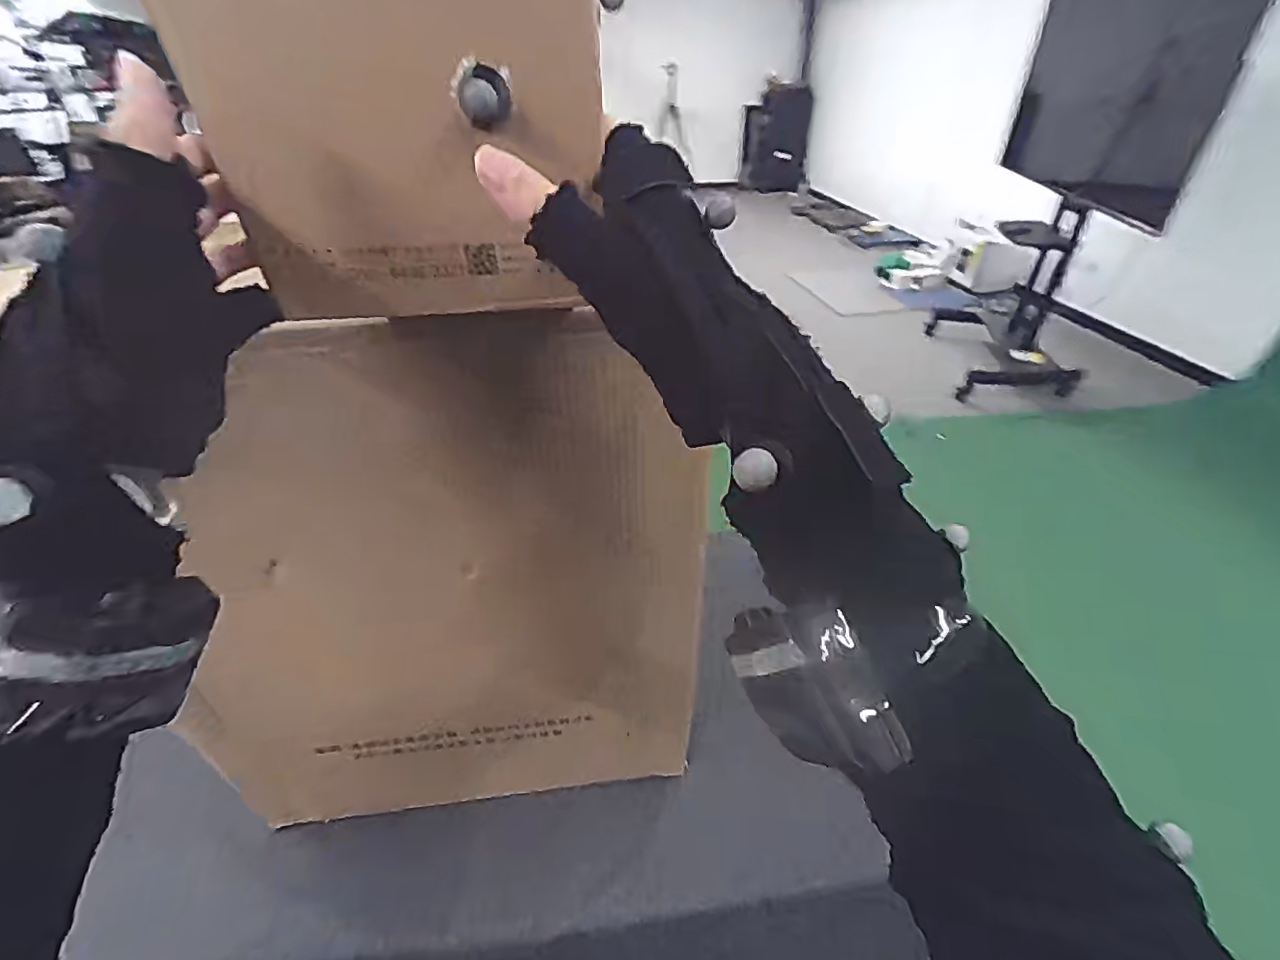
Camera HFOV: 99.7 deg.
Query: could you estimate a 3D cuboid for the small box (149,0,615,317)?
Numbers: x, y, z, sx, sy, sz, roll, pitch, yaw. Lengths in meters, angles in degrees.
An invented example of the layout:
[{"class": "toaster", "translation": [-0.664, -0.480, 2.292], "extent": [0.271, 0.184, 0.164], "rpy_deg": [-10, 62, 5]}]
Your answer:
[{"class": "small box", "translation": [-0.099, -0.194, 0.286], "extent": [0.168, 0.176, 0.179], "rpy_deg": [-1, 37, -1]}]
